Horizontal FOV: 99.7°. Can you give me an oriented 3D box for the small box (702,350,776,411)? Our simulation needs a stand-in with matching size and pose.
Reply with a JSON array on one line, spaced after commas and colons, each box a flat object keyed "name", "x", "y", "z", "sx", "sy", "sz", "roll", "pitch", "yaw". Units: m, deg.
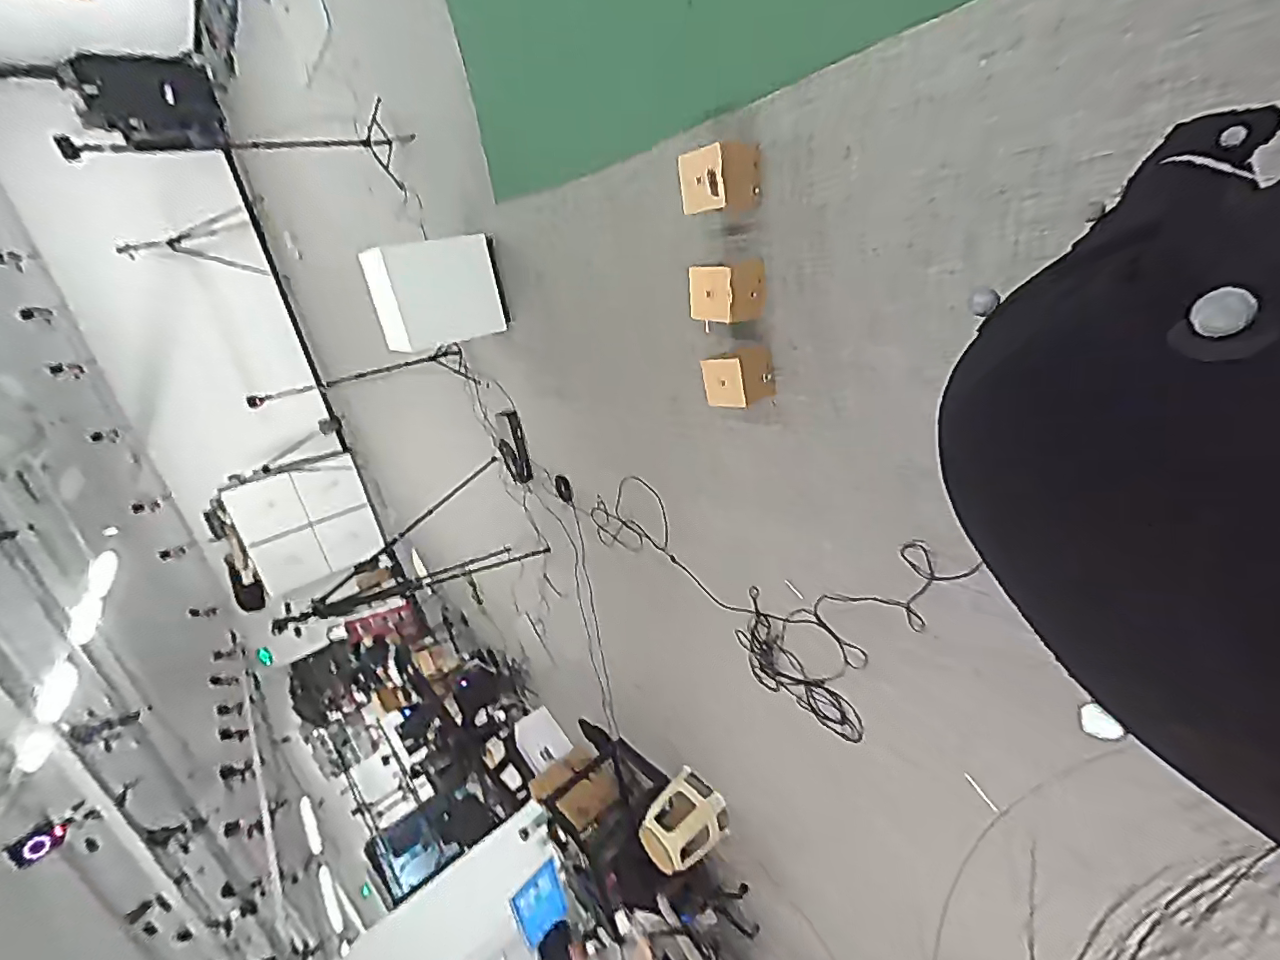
[{"name": "small box", "x": 0.343, "y": -0.344, "z": 1.862, "sx": 0.179, "sy": 0.176, "sz": 0.168, "roll": 10, "pitch": 120, "yaw": 49}]

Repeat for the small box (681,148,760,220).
[{"name": "small box", "x": 0.250, "y": -0.899, "z": 1.643, "sx": 0.179, "sy": 0.176, "sz": 0.168, "roll": 18, "pitch": 124, "yaw": 48}]

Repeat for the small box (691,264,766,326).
[{"name": "small box", "x": 0.289, "y": -0.609, "z": 1.771, "sx": 0.179, "sy": 0.176, "sz": 0.168, "roll": 22, "pitch": 127, "yaw": 45}]
